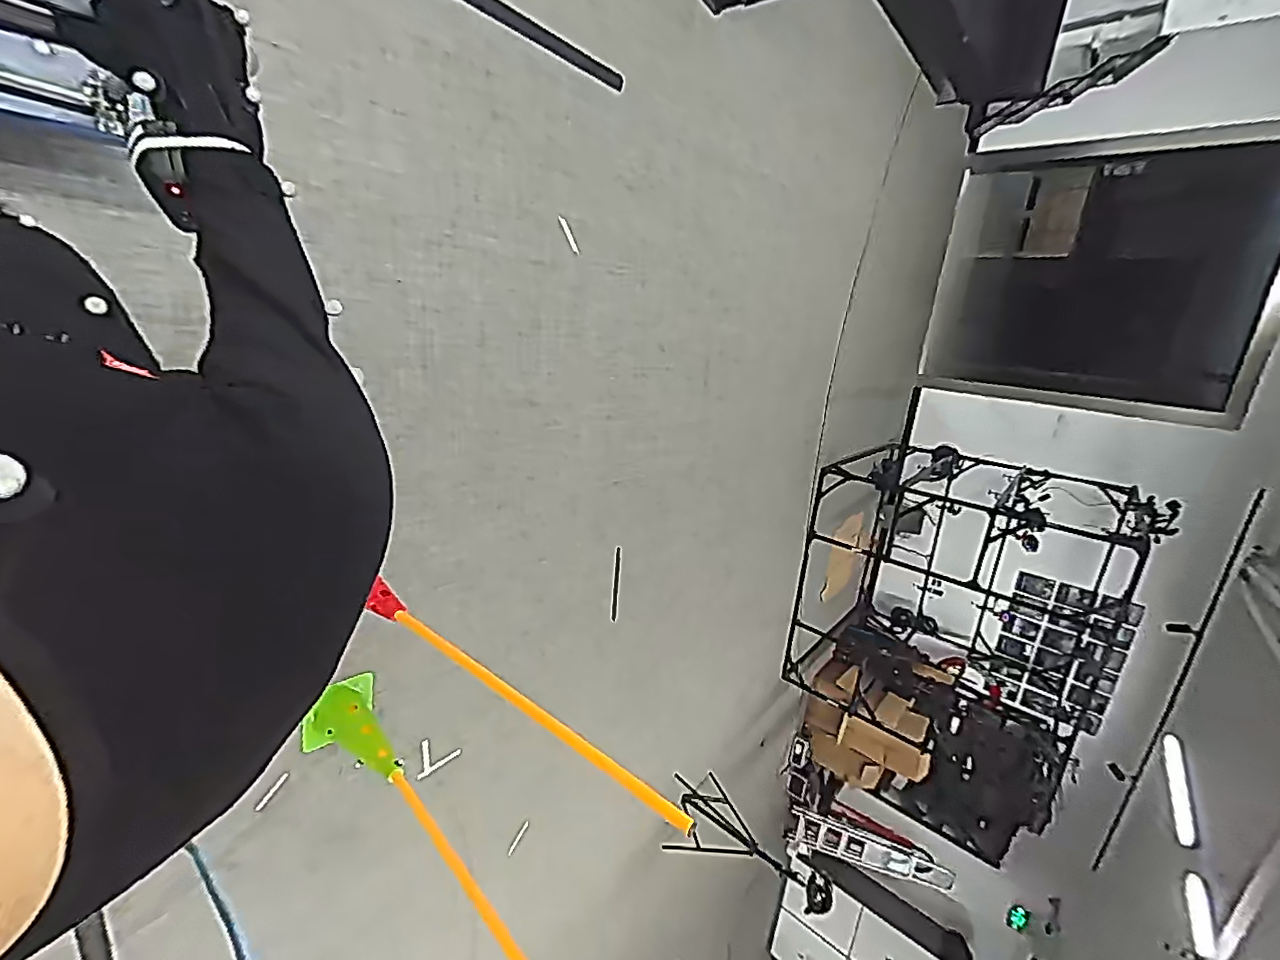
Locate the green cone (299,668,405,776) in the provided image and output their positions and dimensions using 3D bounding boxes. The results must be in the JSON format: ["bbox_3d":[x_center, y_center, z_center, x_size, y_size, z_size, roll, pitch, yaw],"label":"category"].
[{"bbox_3d":[-0.785,0.728,1.534,0.202,0.368,0.200,-9,112,-52],"label":"green cone"}]
